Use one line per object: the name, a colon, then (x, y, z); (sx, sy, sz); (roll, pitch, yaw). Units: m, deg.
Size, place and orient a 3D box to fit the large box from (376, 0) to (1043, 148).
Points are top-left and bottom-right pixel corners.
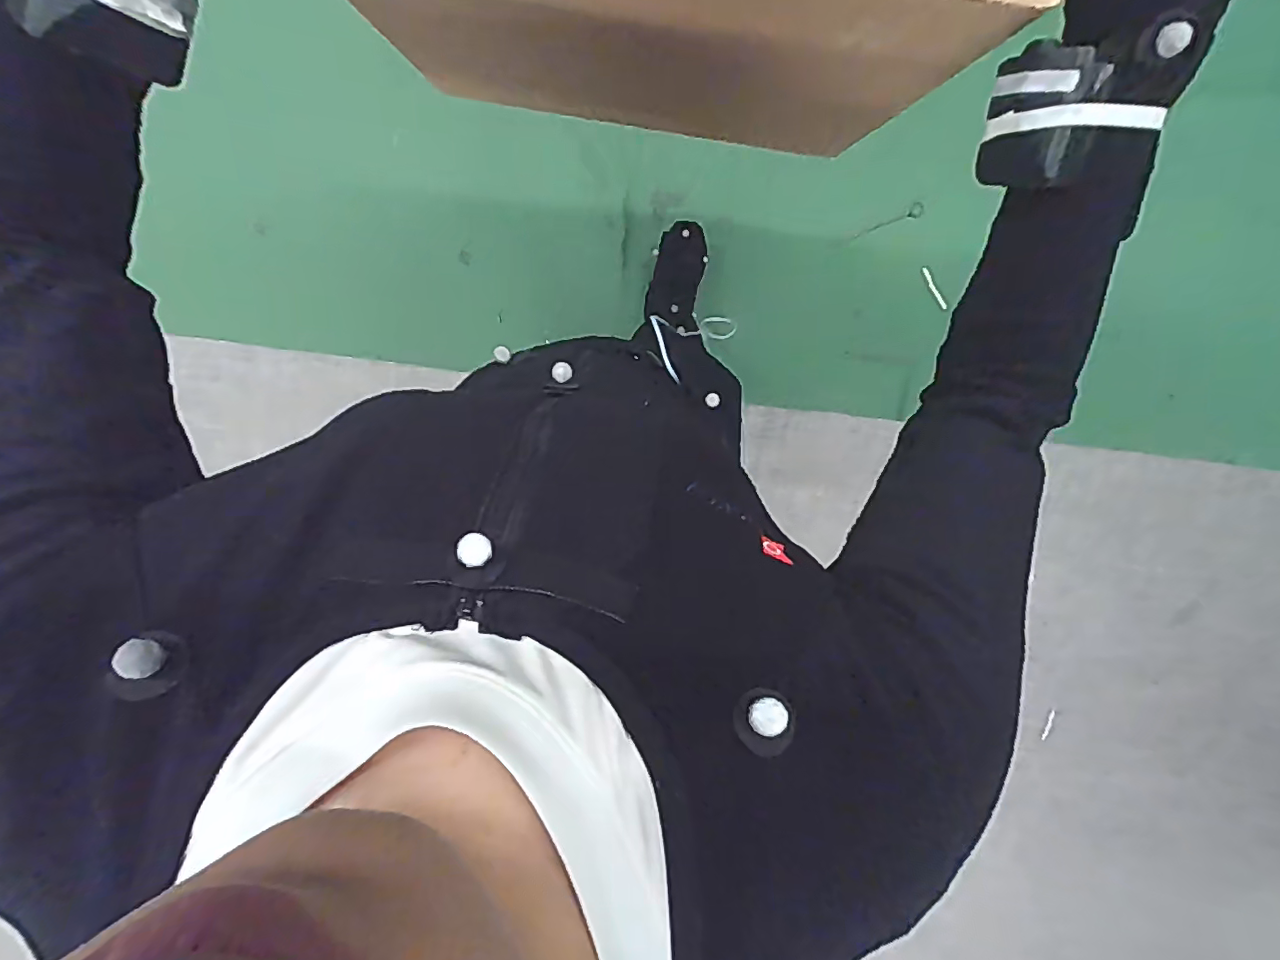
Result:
large box: (0.030, -0.456, 0.358); (0.408, 0.320, 0.320); (7, 110, -4)
